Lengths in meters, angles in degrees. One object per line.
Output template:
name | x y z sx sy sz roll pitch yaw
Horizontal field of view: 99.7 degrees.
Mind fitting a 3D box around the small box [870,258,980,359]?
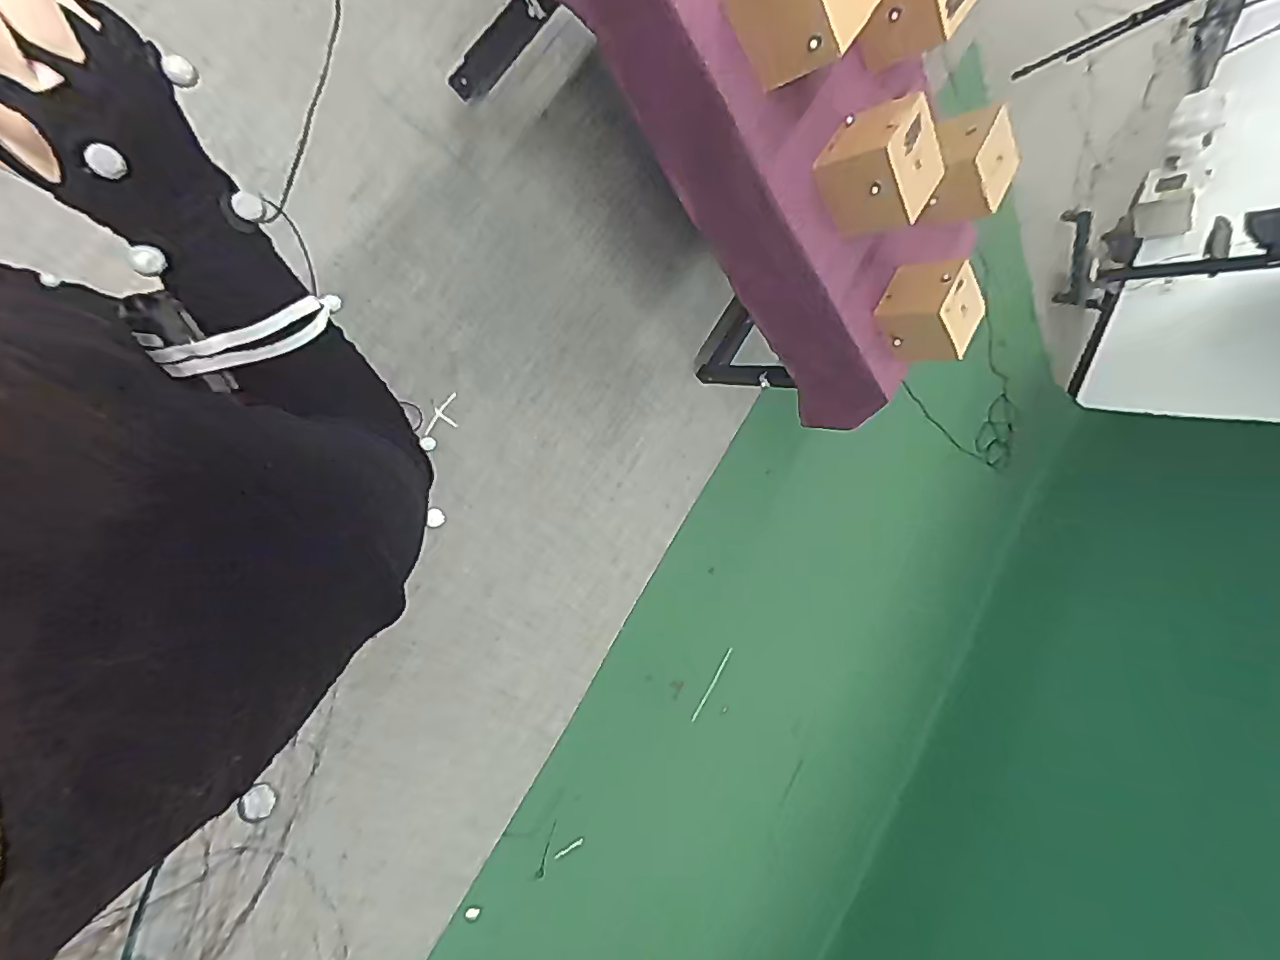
small box | 0.710 -0.423 1.350 0.179 0.176 0.168 40 75 -37

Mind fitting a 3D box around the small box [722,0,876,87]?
small box | 0.263 -0.817 0.907 0.179 0.176 0.168 43 74 -38

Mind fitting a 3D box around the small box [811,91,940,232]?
small box | 0.484 -0.645 1.121 0.179 0.176 0.168 45 73 -37

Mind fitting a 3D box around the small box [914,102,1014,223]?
small box | 0.771 -0.762 1.316 0.168 0.176 0.179 37 78 -37
